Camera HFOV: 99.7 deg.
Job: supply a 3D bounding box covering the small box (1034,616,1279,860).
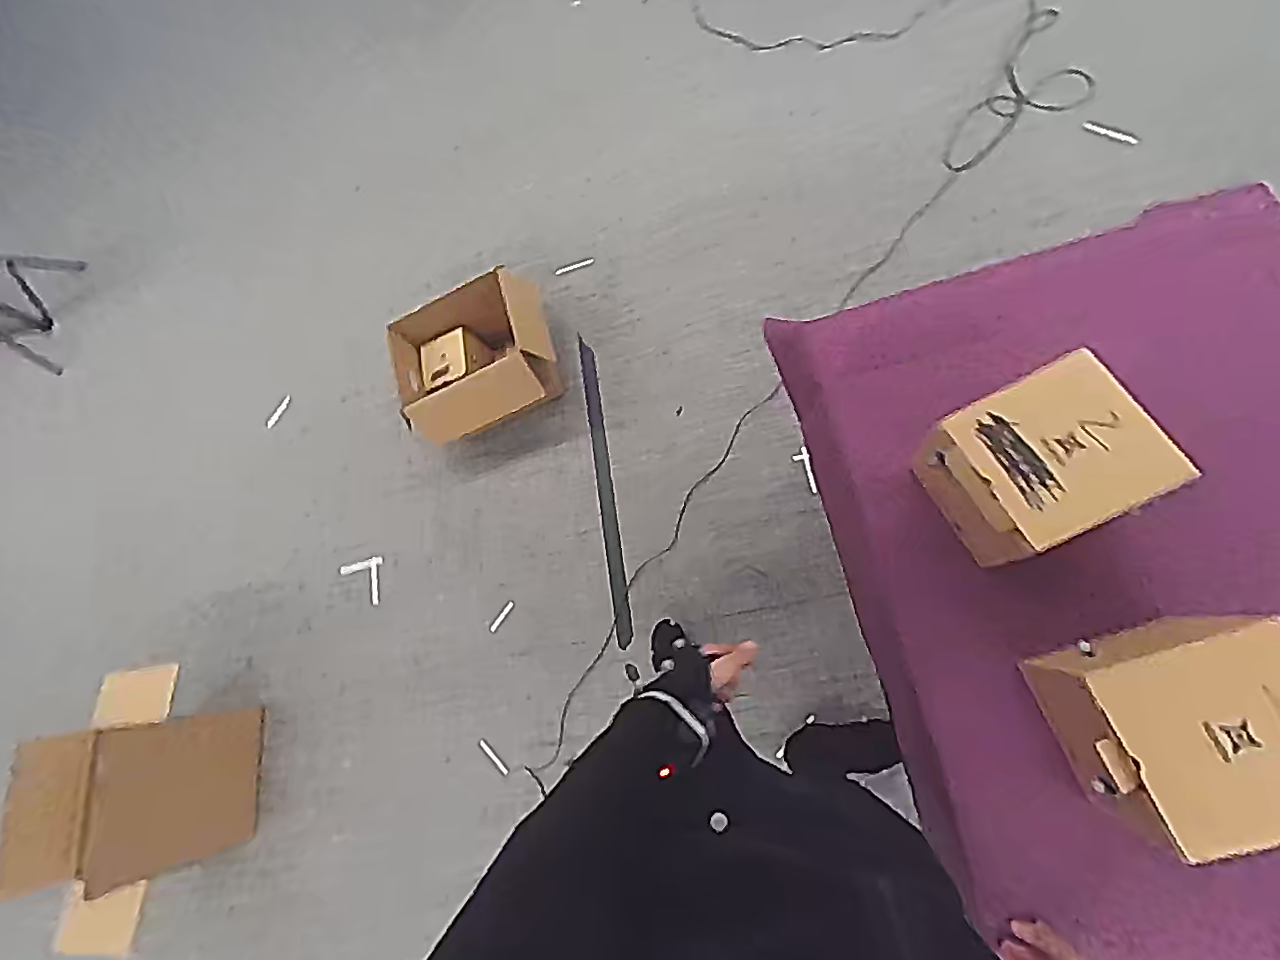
[{"bbox_3d":[0.548,0.247,0.553,0.179,0.176,0.168,-22,72,10],"label":"small box"}]
